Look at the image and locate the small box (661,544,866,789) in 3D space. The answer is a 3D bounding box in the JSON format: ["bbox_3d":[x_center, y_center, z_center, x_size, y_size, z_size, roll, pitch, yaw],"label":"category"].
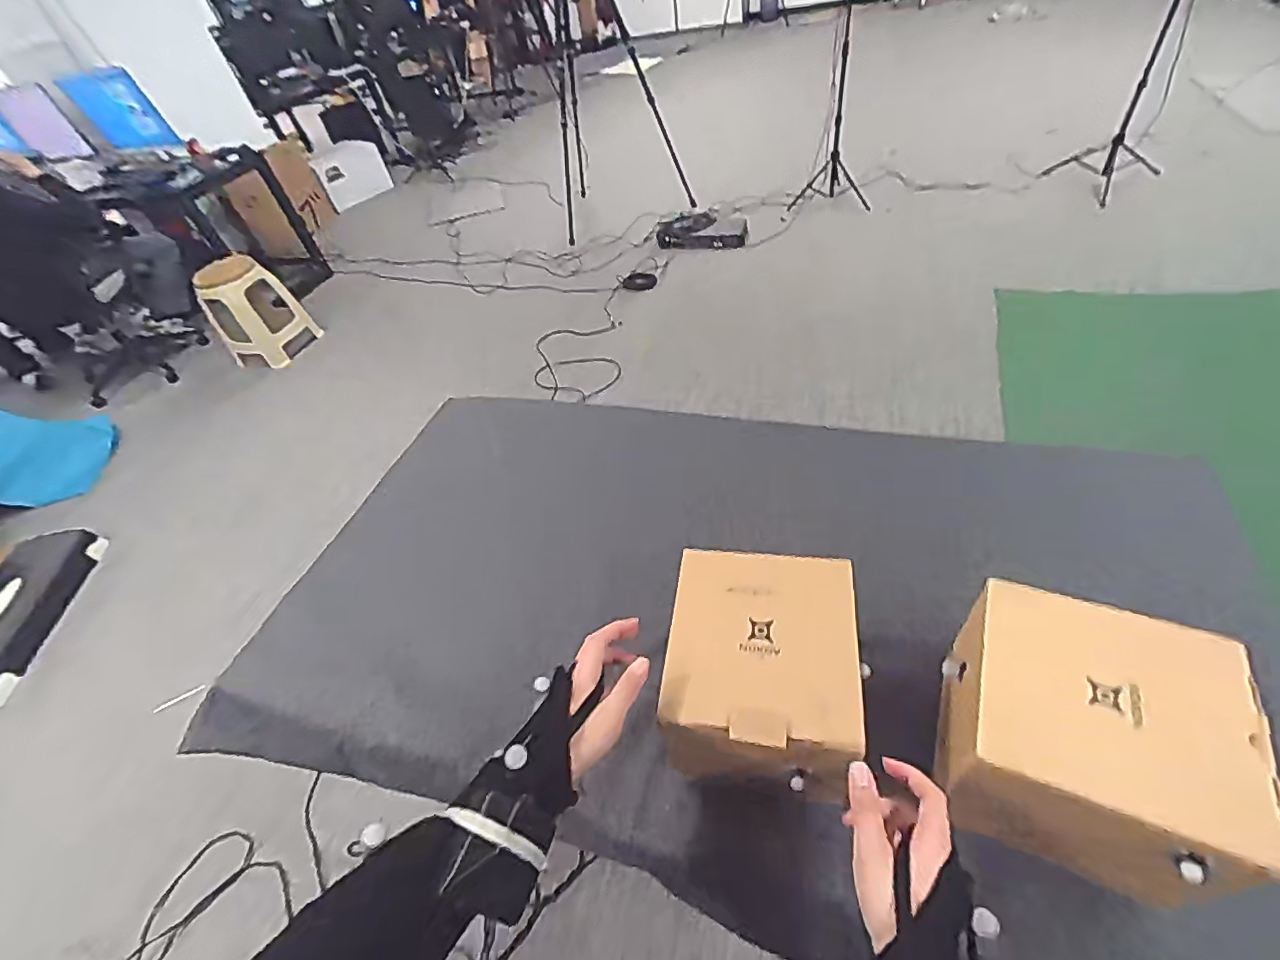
[{"bbox_3d":[0.123,0.188,0.544,0.168,0.176,0.179,3,47,13],"label":"small box"}]

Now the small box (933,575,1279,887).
[{"bbox_3d":[0.370,0.215,0.466,0.179,0.176,0.168,14,52,23],"label":"small box"}]
